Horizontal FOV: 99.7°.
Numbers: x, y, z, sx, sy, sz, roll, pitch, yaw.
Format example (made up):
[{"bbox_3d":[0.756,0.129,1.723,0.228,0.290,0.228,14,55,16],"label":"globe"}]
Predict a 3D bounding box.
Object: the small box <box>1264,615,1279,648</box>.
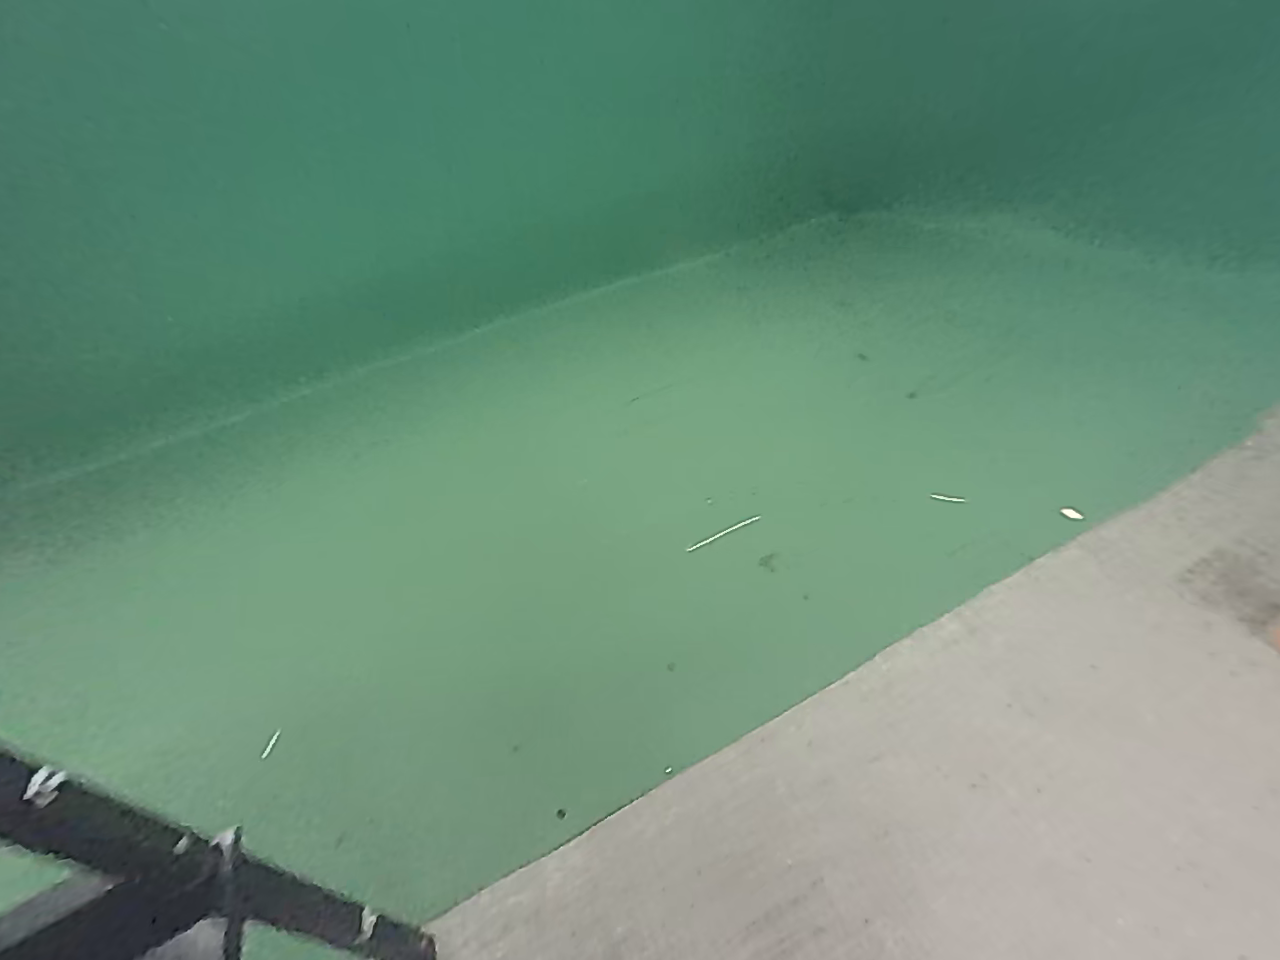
[{"bbox_3d":[1.751,0.363,1.356,0.179,0.176,0.168,-27,43,-17],"label":"small box"}]
